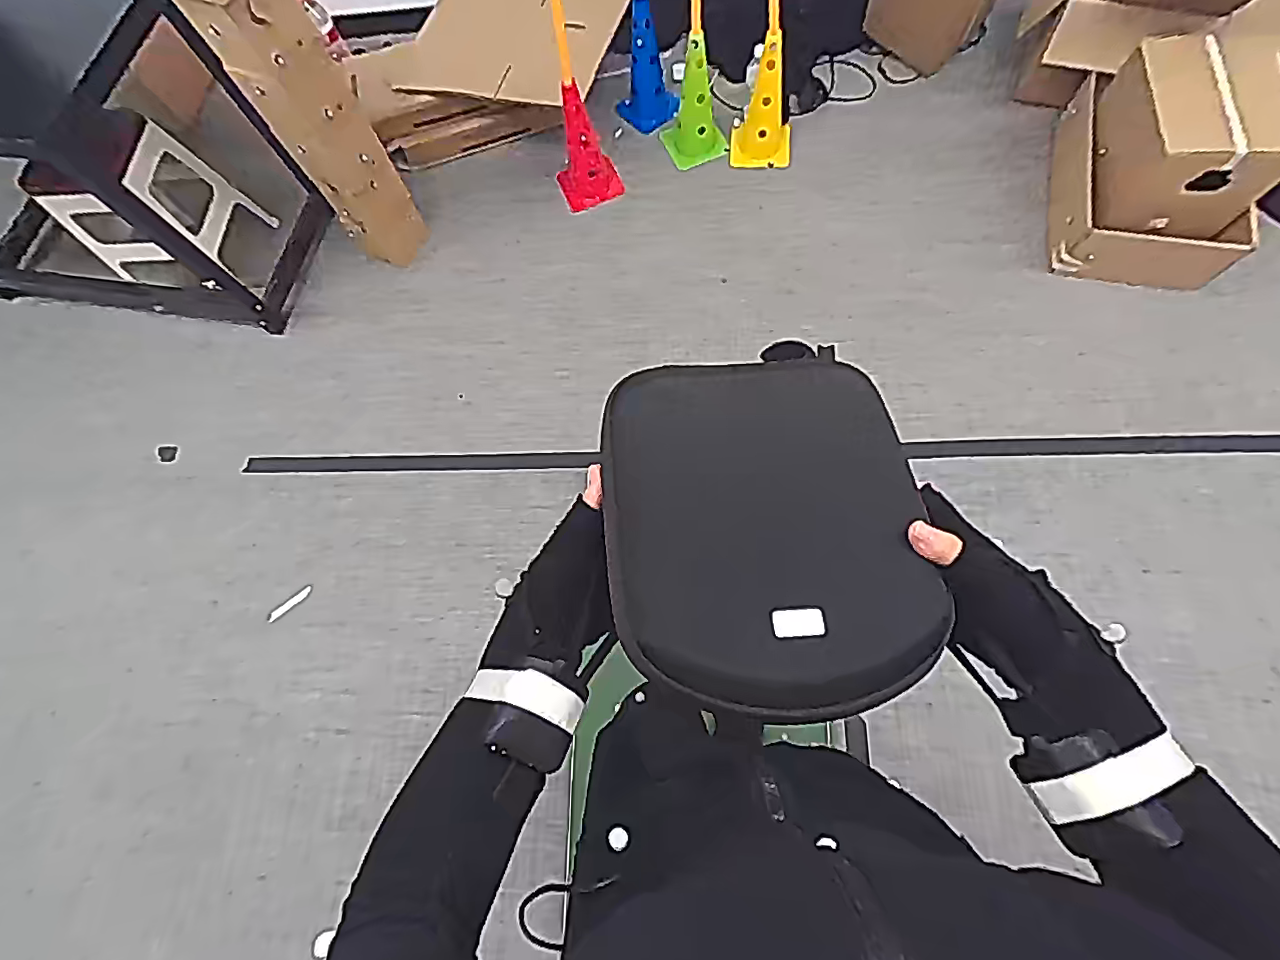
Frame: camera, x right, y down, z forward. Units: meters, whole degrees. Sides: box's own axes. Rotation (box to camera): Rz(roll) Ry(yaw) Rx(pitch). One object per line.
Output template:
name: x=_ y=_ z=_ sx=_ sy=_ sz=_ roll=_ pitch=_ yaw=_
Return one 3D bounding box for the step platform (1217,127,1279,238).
step platform: x=2.122 y=-0.990 z=1.574 sx=0.684 sy=0.204 sz=0.286 roll=-28 pitch=71 yaw=-4
